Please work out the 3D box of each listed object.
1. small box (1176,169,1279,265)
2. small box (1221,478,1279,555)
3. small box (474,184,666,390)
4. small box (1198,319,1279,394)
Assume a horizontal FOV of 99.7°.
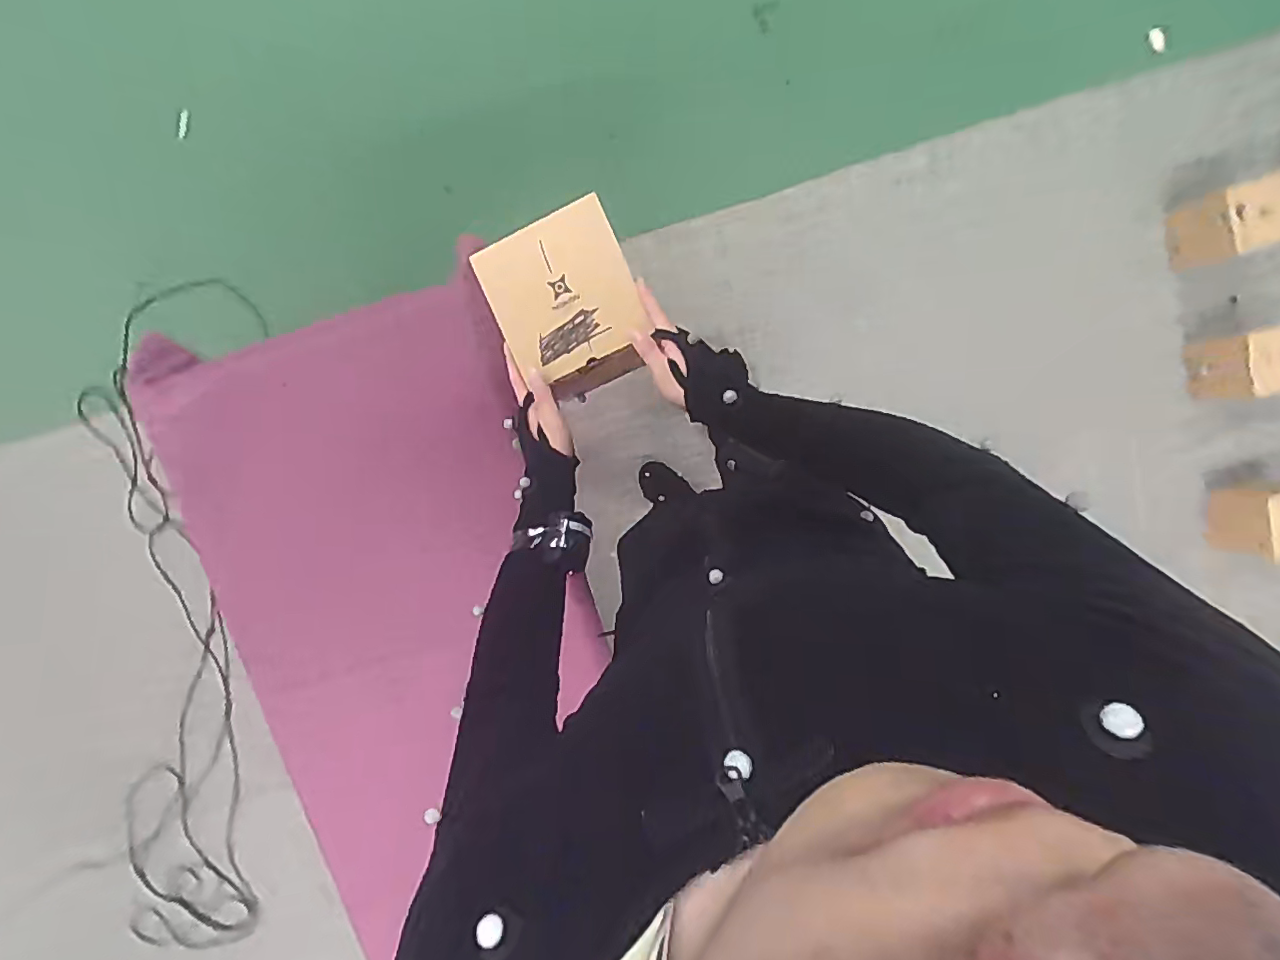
[{"bbox_3d":[1.531,-0.668,1.366,0.179,0.176,0.168,-16,95,3],"label":"small box"},{"bbox_3d":[1.727,0.096,1.449,0.168,0.176,0.179,-14,97,4],"label":"small box"},{"bbox_3d":[-0.073,-0.222,0.681,0.168,0.176,0.179,-23,91,7],"label":"small box"},{"bbox_3d":[1.624,-0.324,1.402,0.179,0.176,0.168,-14,95,4],"label":"small box"}]
